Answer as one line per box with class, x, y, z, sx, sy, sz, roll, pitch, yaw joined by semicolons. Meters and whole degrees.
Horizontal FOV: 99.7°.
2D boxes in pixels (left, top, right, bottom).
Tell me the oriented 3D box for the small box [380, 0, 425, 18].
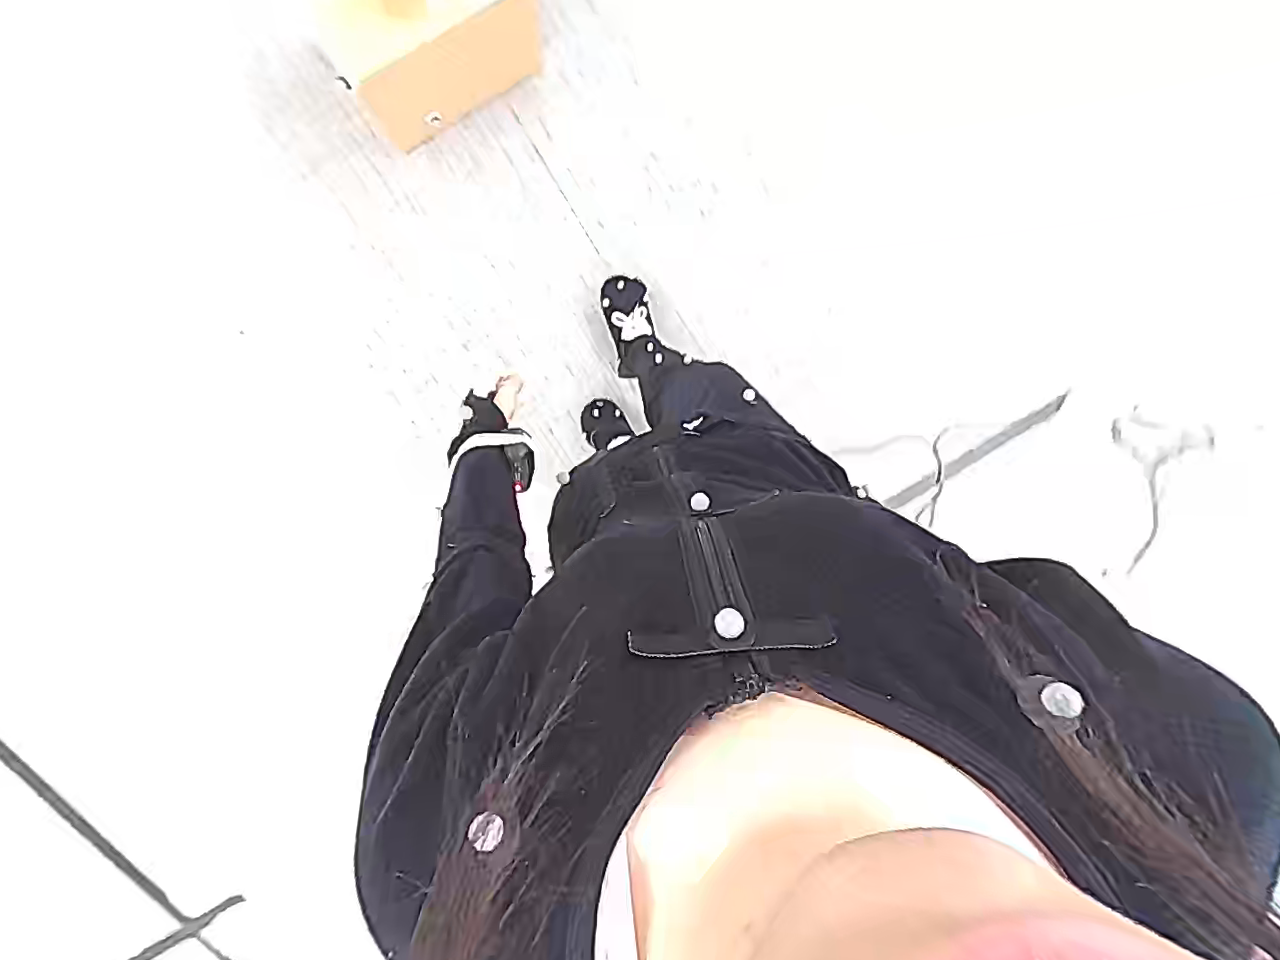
small box;-0.407;-0.926;0.887;0.179;0.176;0.168;-33;103;0
